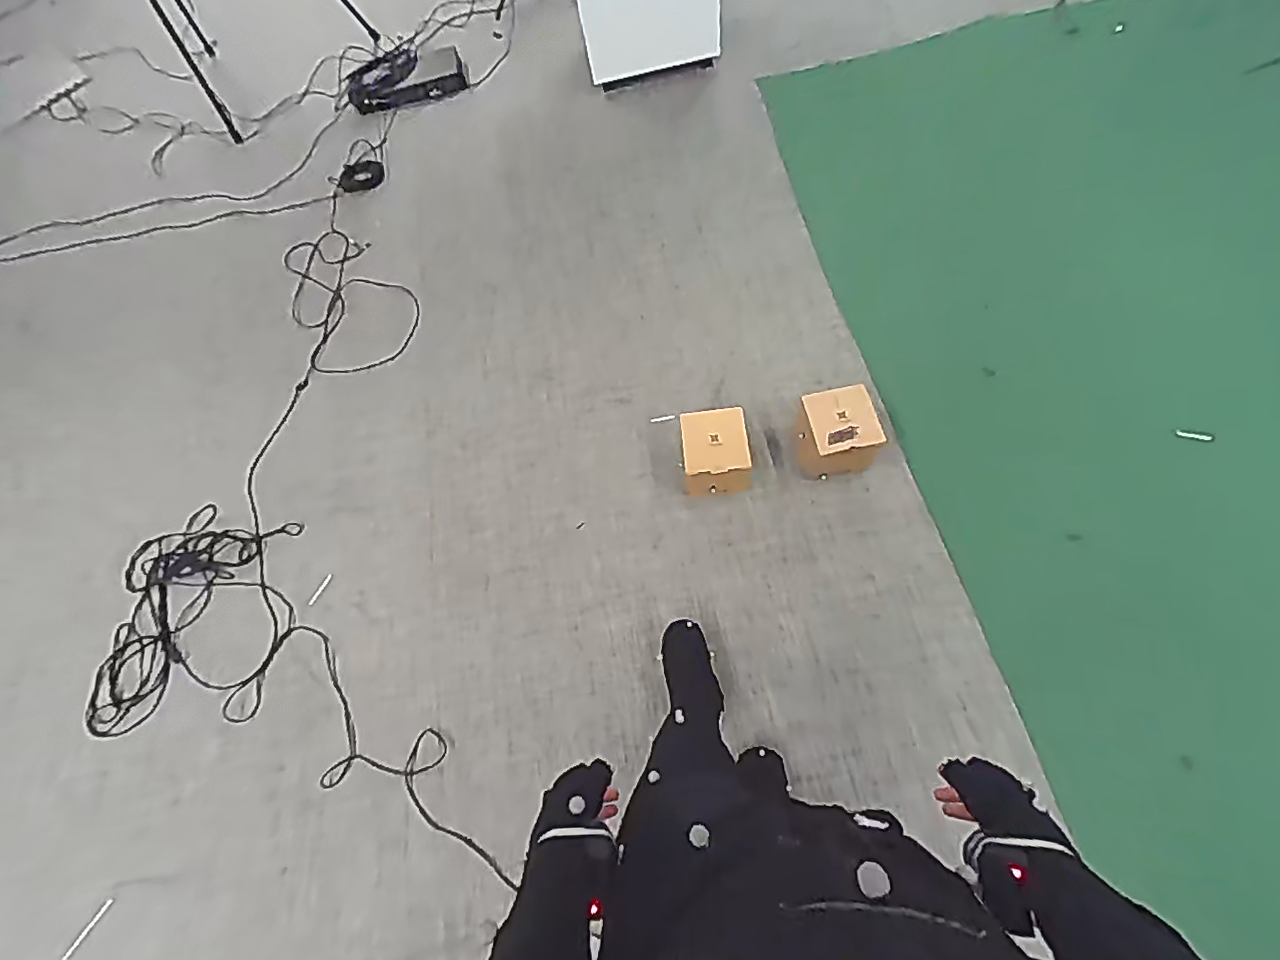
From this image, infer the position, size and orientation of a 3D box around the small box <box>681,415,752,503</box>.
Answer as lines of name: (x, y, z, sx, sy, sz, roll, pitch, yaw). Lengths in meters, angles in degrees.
small box: (0.200, -0.052, 1.448, 0.168, 0.176, 0.179, -7, 67, 5)

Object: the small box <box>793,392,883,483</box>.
small box: (0.514, -0.103, 1.427, 0.168, 0.176, 0.179, -11, 65, 3)
